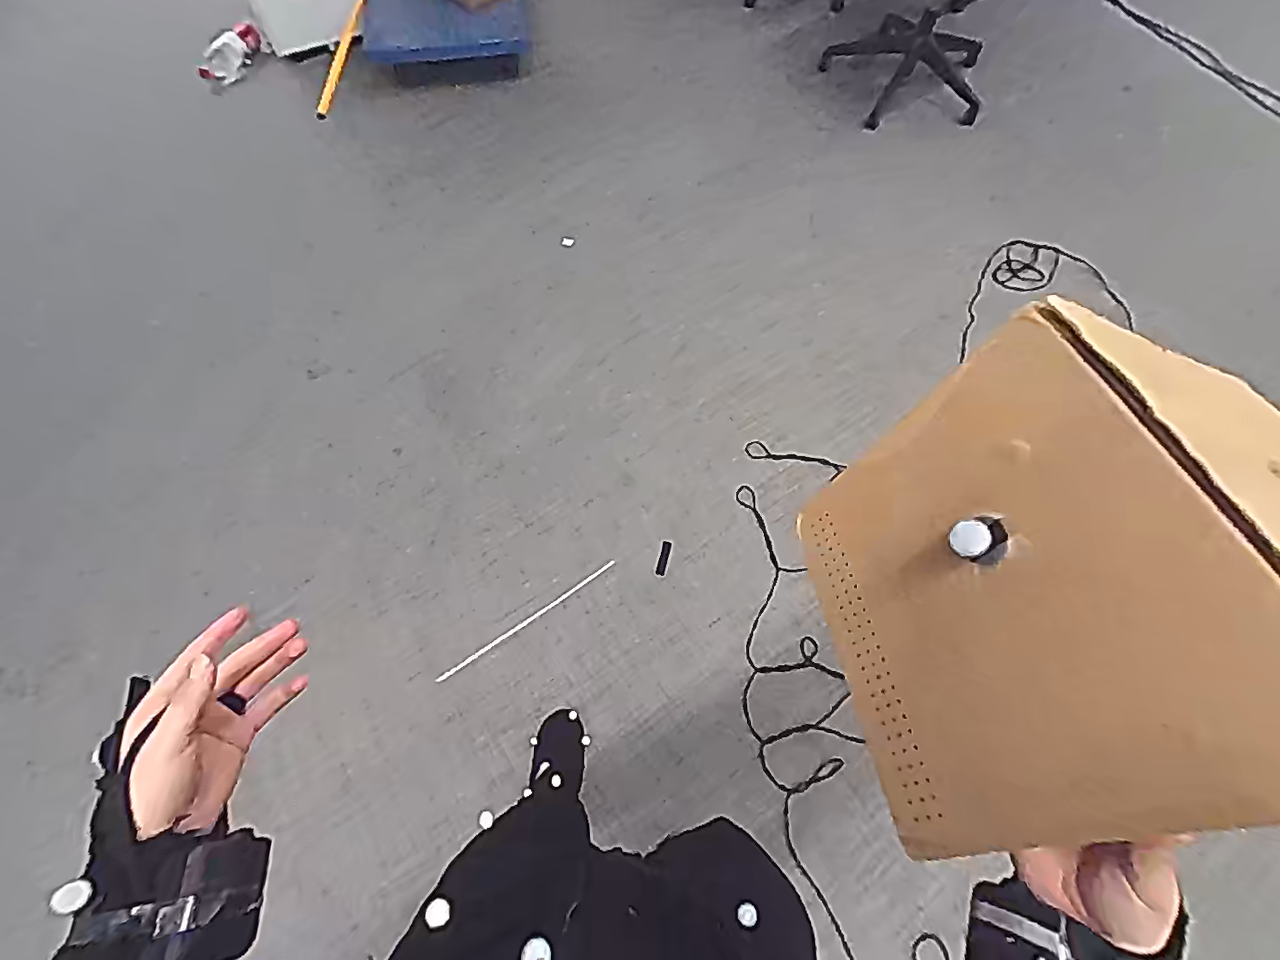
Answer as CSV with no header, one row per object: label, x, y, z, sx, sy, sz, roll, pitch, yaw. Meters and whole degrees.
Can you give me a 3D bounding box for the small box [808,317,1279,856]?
small box,0.211,0.058,0.260,0.168,0.176,0.179,7,51,-22
